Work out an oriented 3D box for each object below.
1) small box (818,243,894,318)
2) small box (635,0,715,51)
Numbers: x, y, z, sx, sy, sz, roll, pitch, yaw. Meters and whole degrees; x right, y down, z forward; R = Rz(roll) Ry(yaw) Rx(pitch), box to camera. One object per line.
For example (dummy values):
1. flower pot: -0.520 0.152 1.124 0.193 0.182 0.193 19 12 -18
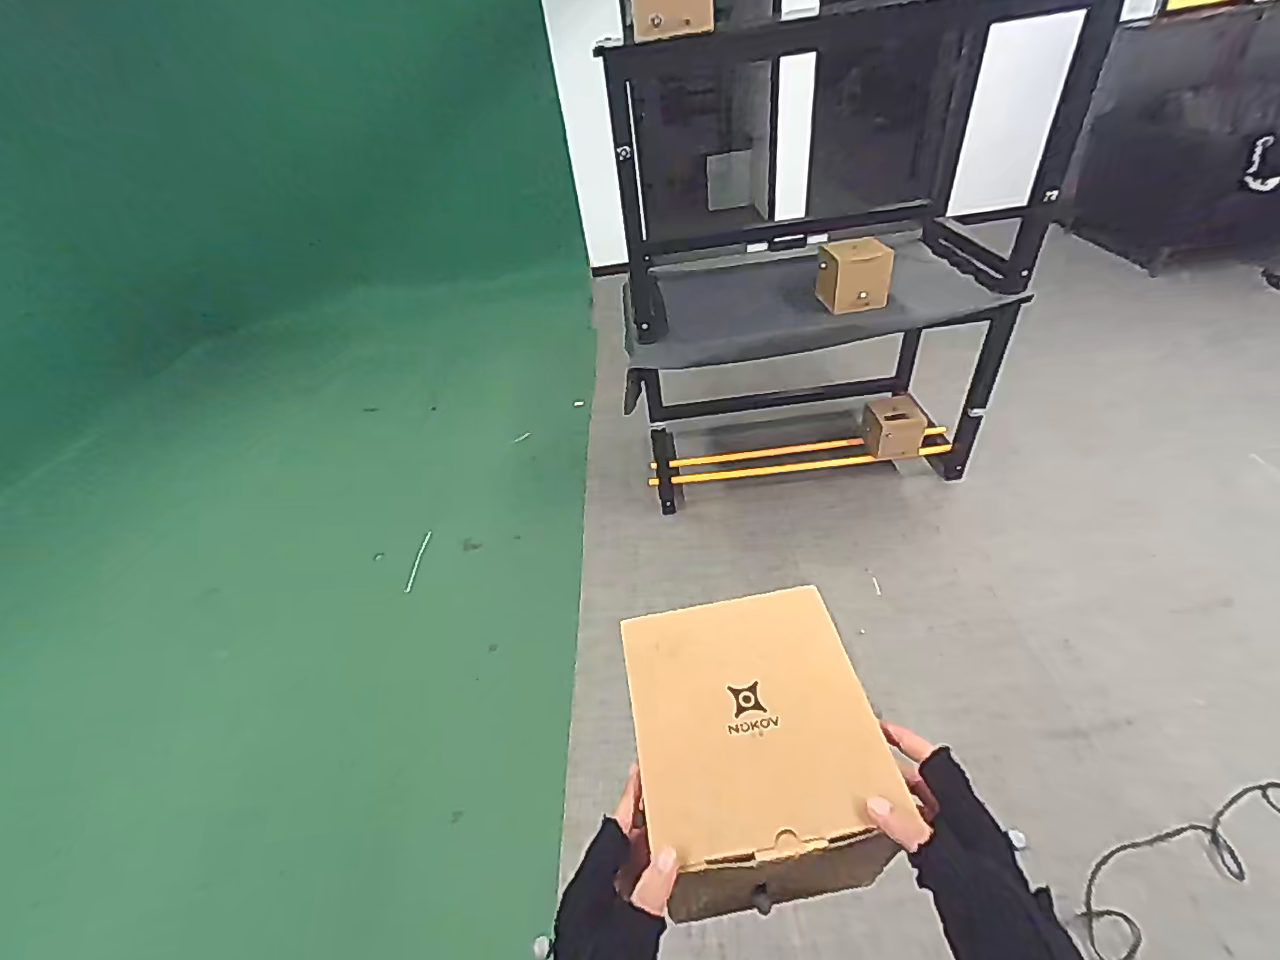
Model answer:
1. small box: 0.673 -0.632 1.712 0.168 0.176 0.179 -9 39 1
2. small box: 0.080 -1.132 1.275 0.168 0.176 0.179 -9 39 -2
